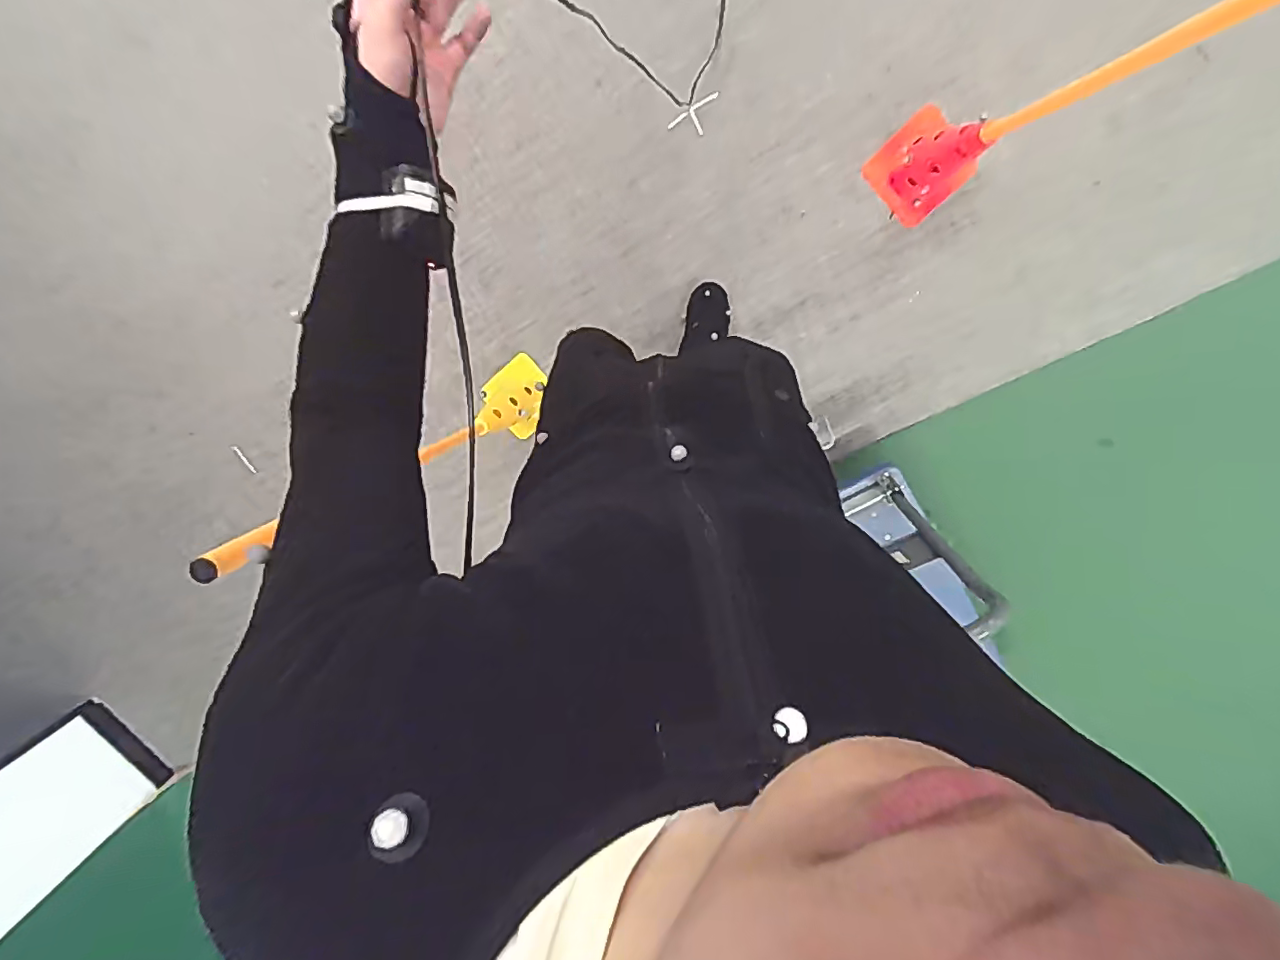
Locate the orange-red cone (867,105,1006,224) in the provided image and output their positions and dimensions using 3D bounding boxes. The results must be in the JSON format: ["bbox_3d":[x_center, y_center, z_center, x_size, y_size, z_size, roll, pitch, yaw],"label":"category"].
[{"bbox_3d":[0.658,-0.694,1.137,0.199,0.360,0.198,-41,102,17],"label":"orange-red cone"}]
